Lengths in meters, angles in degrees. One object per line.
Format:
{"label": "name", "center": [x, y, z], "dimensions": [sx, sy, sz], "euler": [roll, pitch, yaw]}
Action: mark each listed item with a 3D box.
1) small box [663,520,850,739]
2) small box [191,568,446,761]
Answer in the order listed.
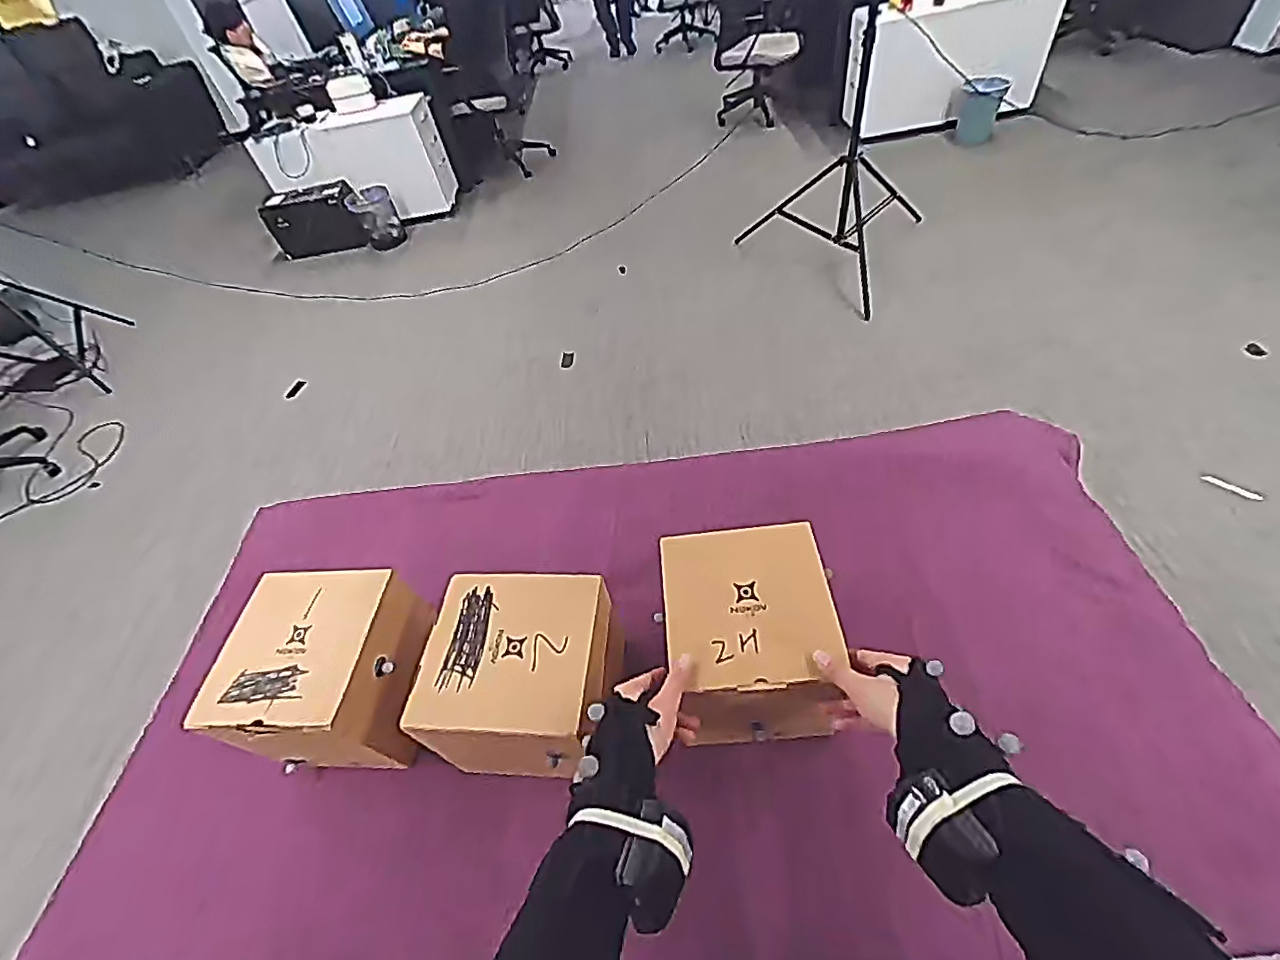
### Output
{"label": "small box", "center": [0.117, 0.169, 0.603], "dimensions": [0.168, 0.176, 0.179], "euler": [-7, 49, 6]}
{"label": "small box", "center": [-0.356, 0.223, 0.644], "dimensions": [0.168, 0.176, 0.179], "euler": [-3, 50, 8]}
